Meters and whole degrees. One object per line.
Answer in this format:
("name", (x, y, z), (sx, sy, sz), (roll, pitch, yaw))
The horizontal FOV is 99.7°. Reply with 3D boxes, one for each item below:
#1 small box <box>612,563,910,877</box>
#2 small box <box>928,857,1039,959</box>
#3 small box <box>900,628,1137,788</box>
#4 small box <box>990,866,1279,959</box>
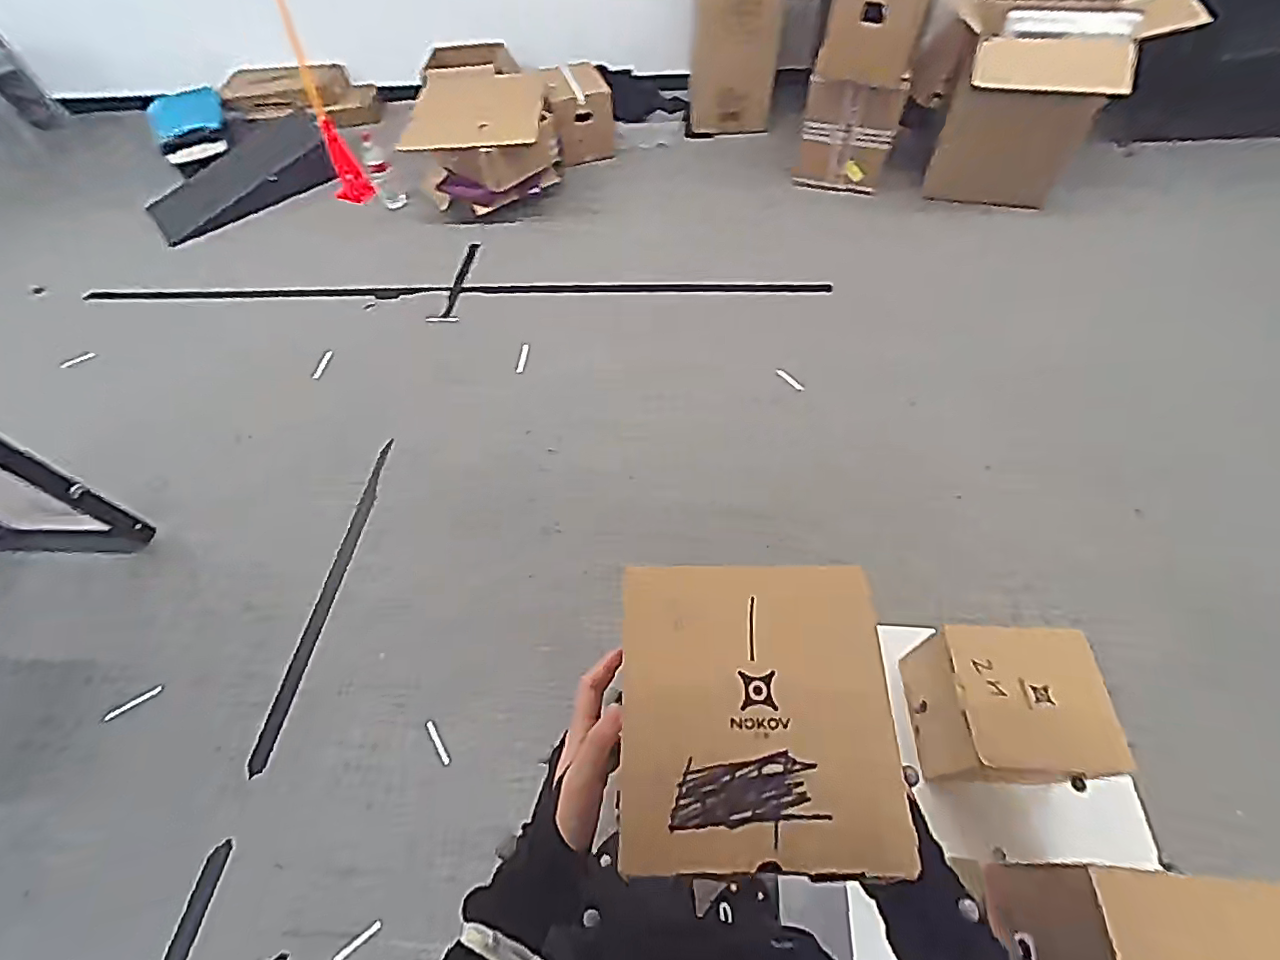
("small box", (0.067, 0.169, 0.402), (0.168, 0.176, 0.179), (1, 64, -1))
("small box", (0.430, 0.515, 0.577), (0.179, 0.176, 0.168), (3, 55, 7))
("small box", (0.475, 0.305, 0.715), (0.179, 0.176, 0.168), (1, 56, 4))
("small box", (0.433, 0.424, 0.441), (0.179, 0.176, 0.168), (3, 54, 5))
